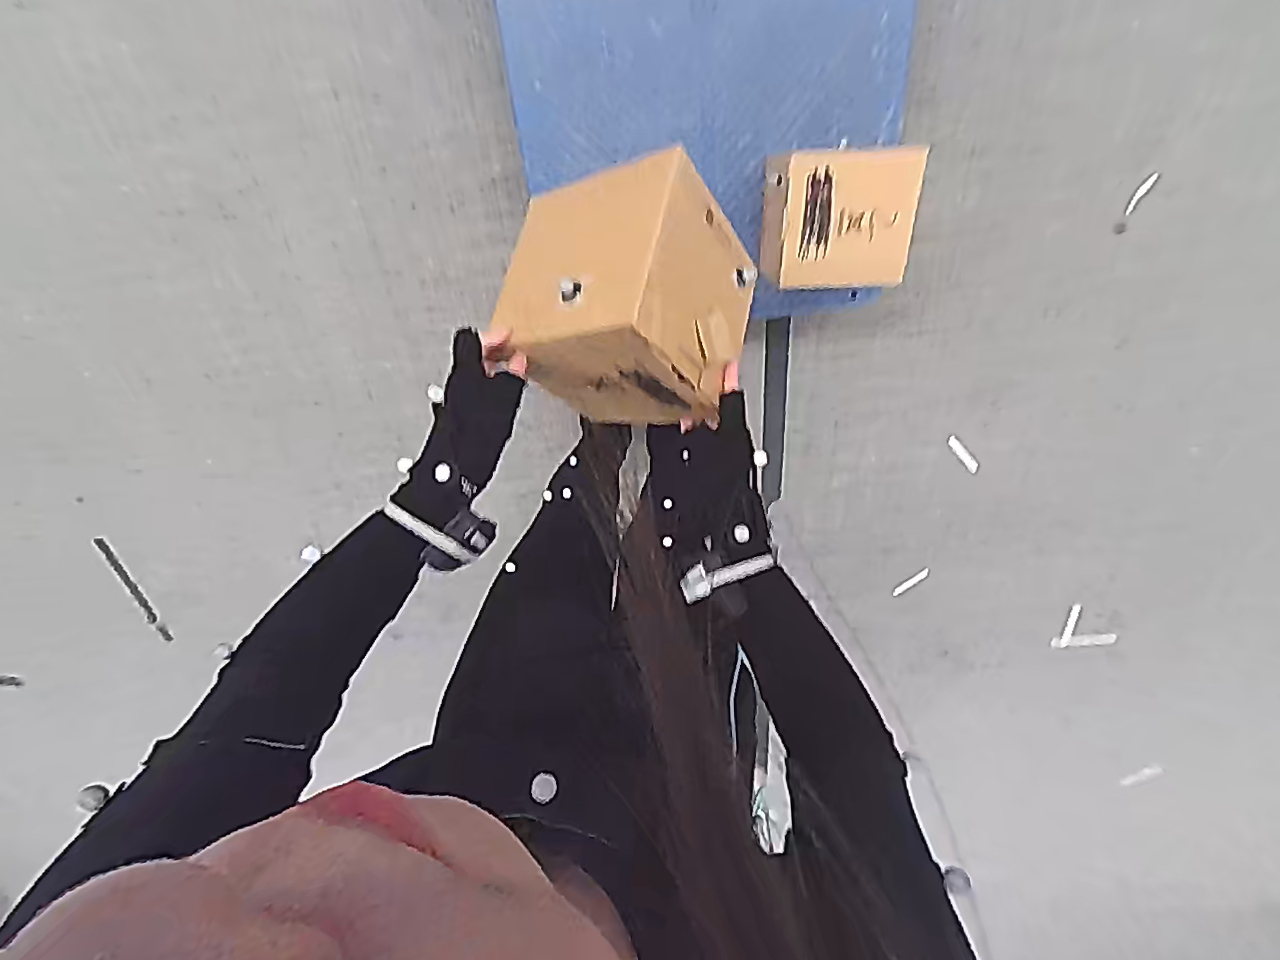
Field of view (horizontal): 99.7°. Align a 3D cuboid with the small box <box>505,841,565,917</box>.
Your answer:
[{"bbox_3d":[-0.361,1.403,1.904,0.179,0.176,0.168,1,121,3],"label":"small box"}]

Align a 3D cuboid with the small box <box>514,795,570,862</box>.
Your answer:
[{"bbox_3d":[-0.364,1.320,2.048,0.179,0.176,0.168,-1,120,3],"label":"small box"}]

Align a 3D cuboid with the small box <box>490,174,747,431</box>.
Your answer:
[{"bbox_3d":[-0.009,-0.156,0.522,0.179,0.176,0.168,5,164,37],"label":"small box"}]
